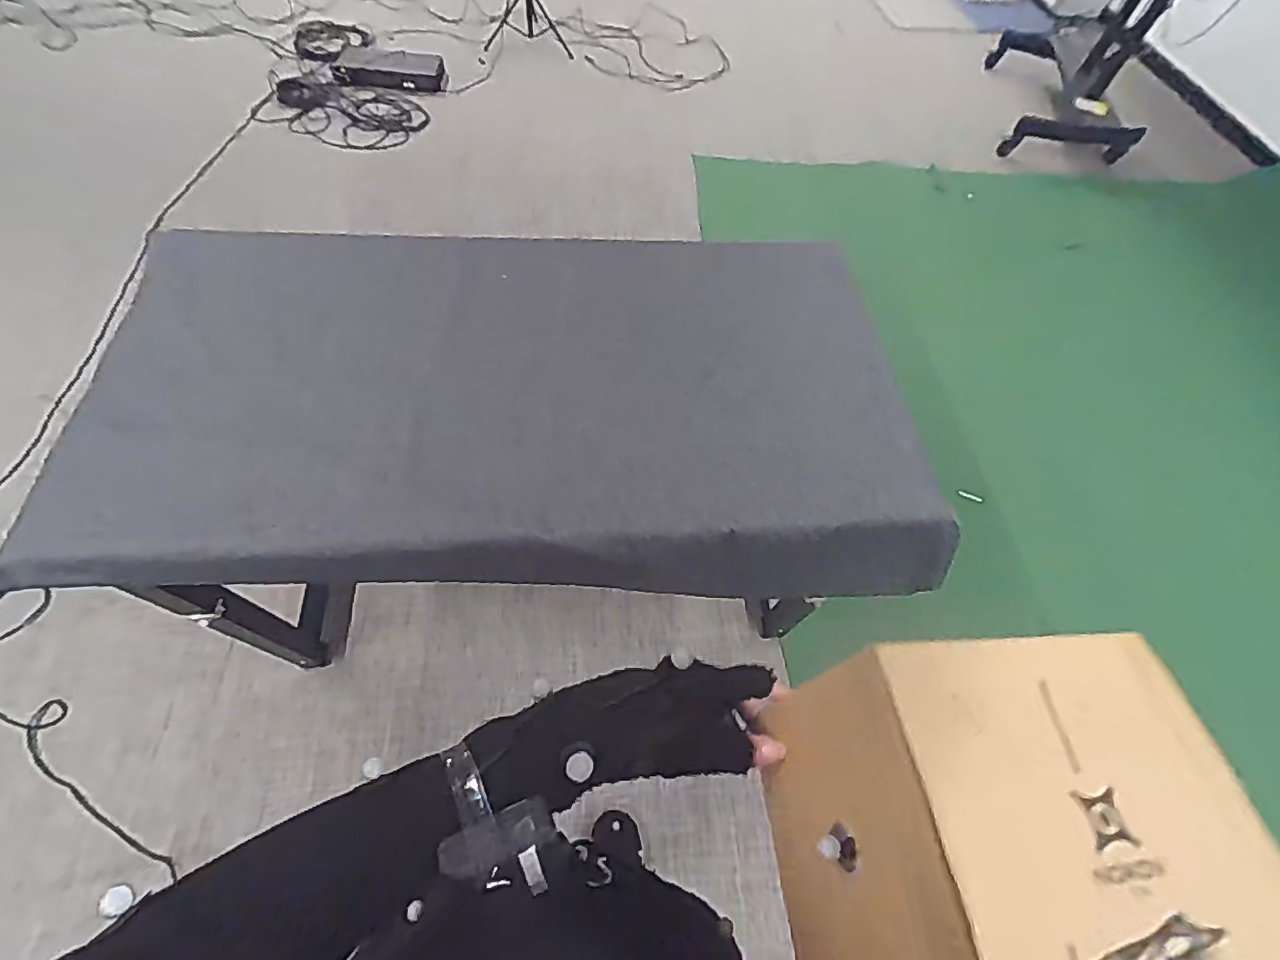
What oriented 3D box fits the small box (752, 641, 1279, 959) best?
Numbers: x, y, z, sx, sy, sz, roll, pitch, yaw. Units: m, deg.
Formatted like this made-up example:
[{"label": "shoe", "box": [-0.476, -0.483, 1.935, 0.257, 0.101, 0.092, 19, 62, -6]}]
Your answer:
[{"label": "small box", "box": [0.179, 0.202, 0.299, 0.168, 0.176, 0.179, 2, 55, -12]}]
